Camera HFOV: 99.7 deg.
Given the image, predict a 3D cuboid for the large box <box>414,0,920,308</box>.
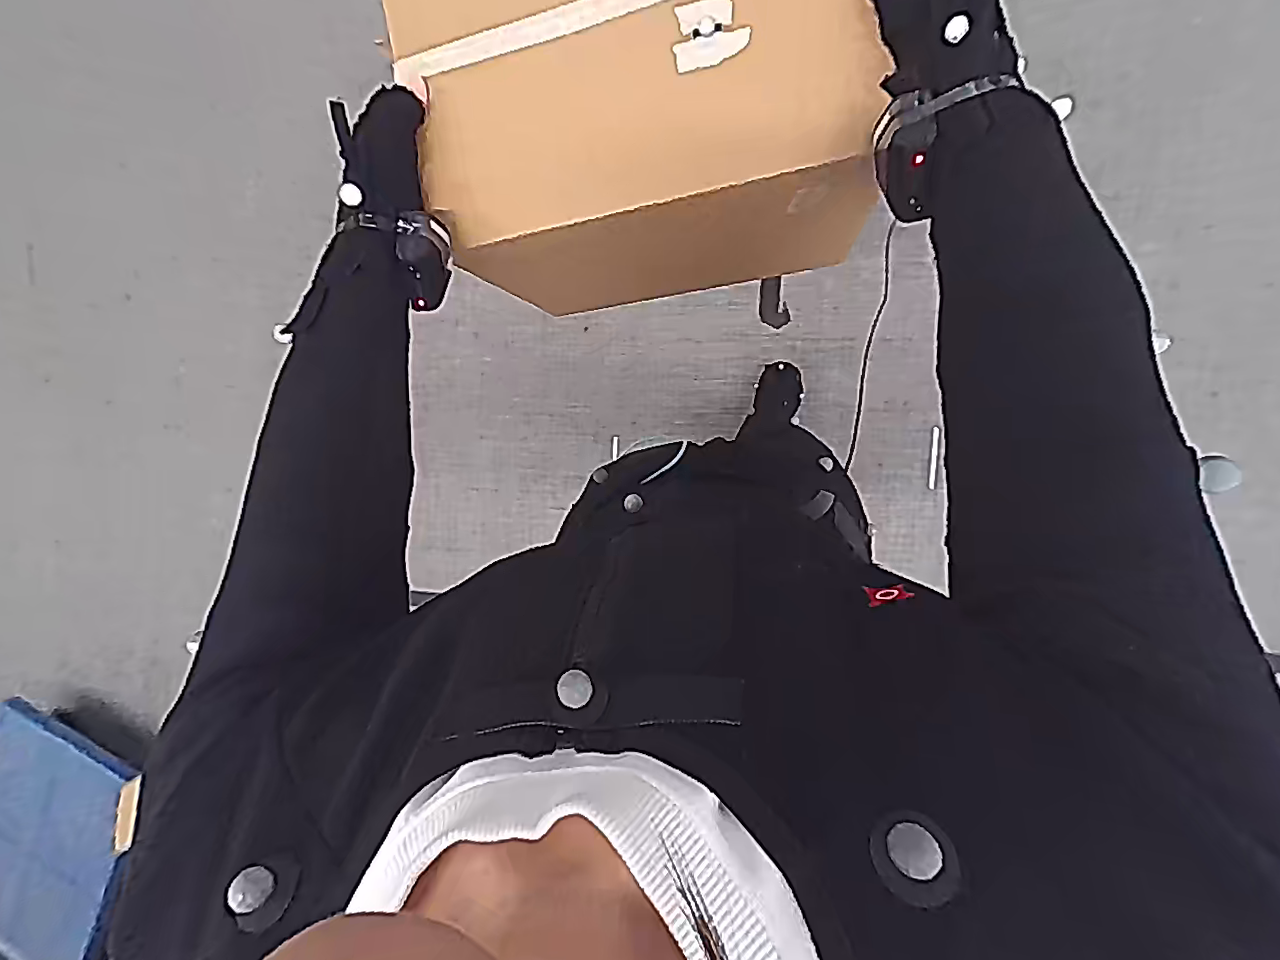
[{"bbox_3d":[0.028,-0.404,0.584,0.408,0.320,0.320,-7,95,12],"label":"large box"}]
